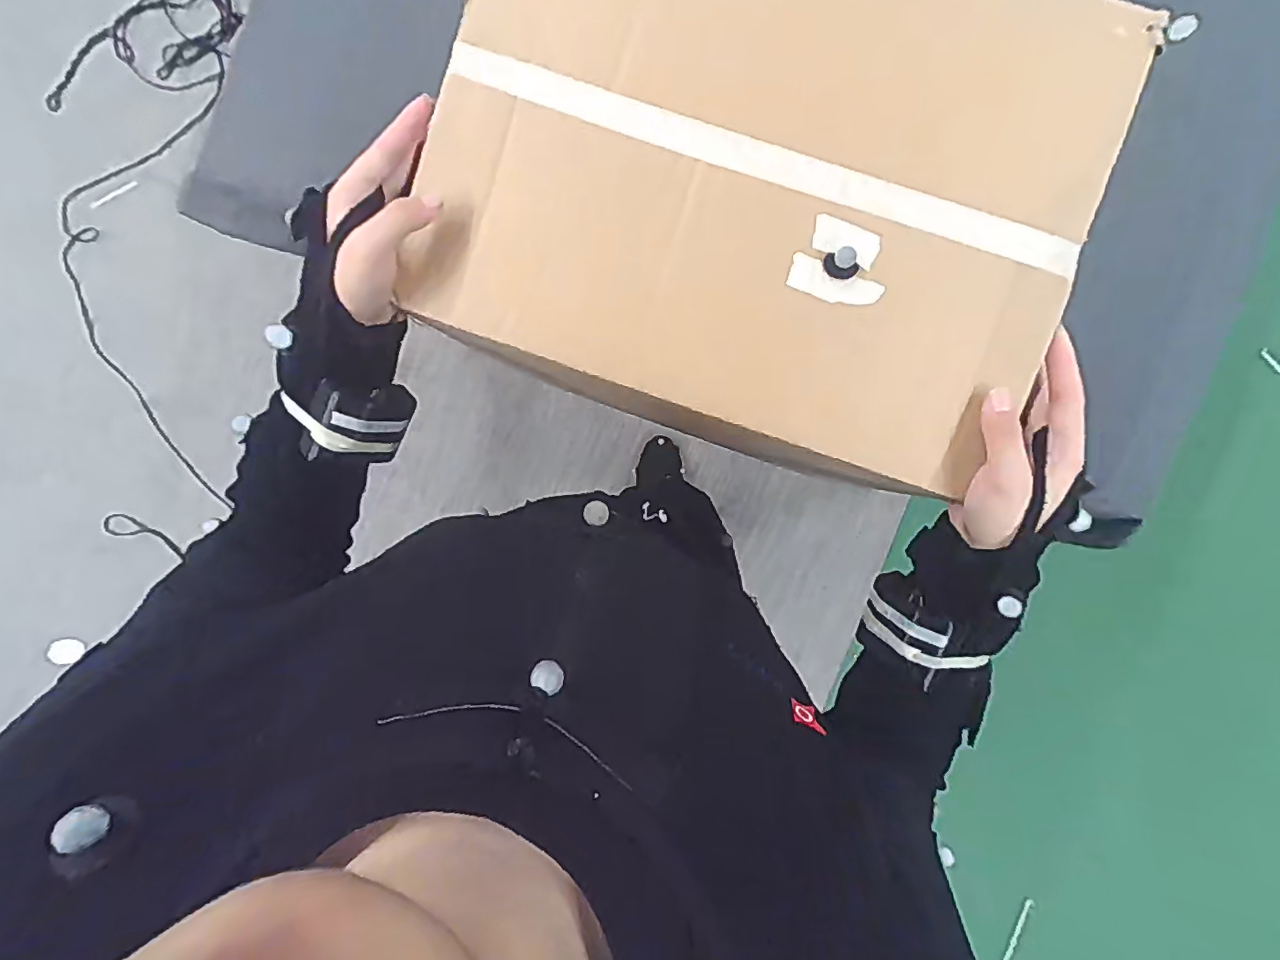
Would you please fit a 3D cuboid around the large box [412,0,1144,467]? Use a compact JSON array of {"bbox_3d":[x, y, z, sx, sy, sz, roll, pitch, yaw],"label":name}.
[{"bbox_3d":[0.083,-0.218,0.493,0.408,0.320,0.320,19,94,0],"label":"large box"}]
